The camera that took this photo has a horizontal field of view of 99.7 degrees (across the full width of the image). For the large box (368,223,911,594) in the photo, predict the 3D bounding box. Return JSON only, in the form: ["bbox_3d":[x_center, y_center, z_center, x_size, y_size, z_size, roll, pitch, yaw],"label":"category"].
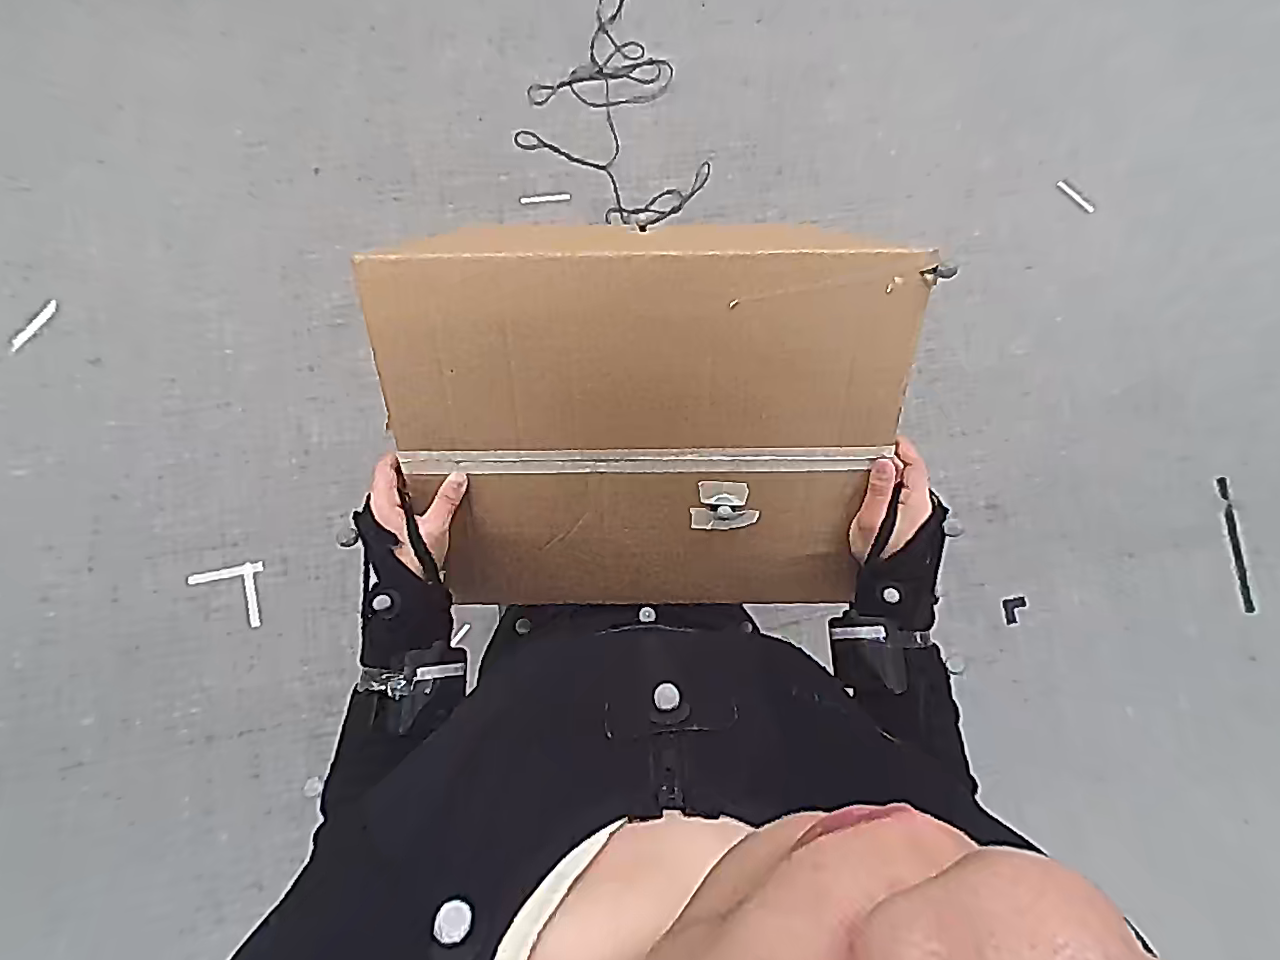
[{"bbox_3d":[-0.001,-0.100,0.591,0.408,0.320,0.320,-2,119,-1],"label":"large box"}]

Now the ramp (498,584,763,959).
[{"bbox_3d":[-0.041,0.729,1.293,0.509,0.206,0.991,-11,85,-5],"label":"ramp"}]
